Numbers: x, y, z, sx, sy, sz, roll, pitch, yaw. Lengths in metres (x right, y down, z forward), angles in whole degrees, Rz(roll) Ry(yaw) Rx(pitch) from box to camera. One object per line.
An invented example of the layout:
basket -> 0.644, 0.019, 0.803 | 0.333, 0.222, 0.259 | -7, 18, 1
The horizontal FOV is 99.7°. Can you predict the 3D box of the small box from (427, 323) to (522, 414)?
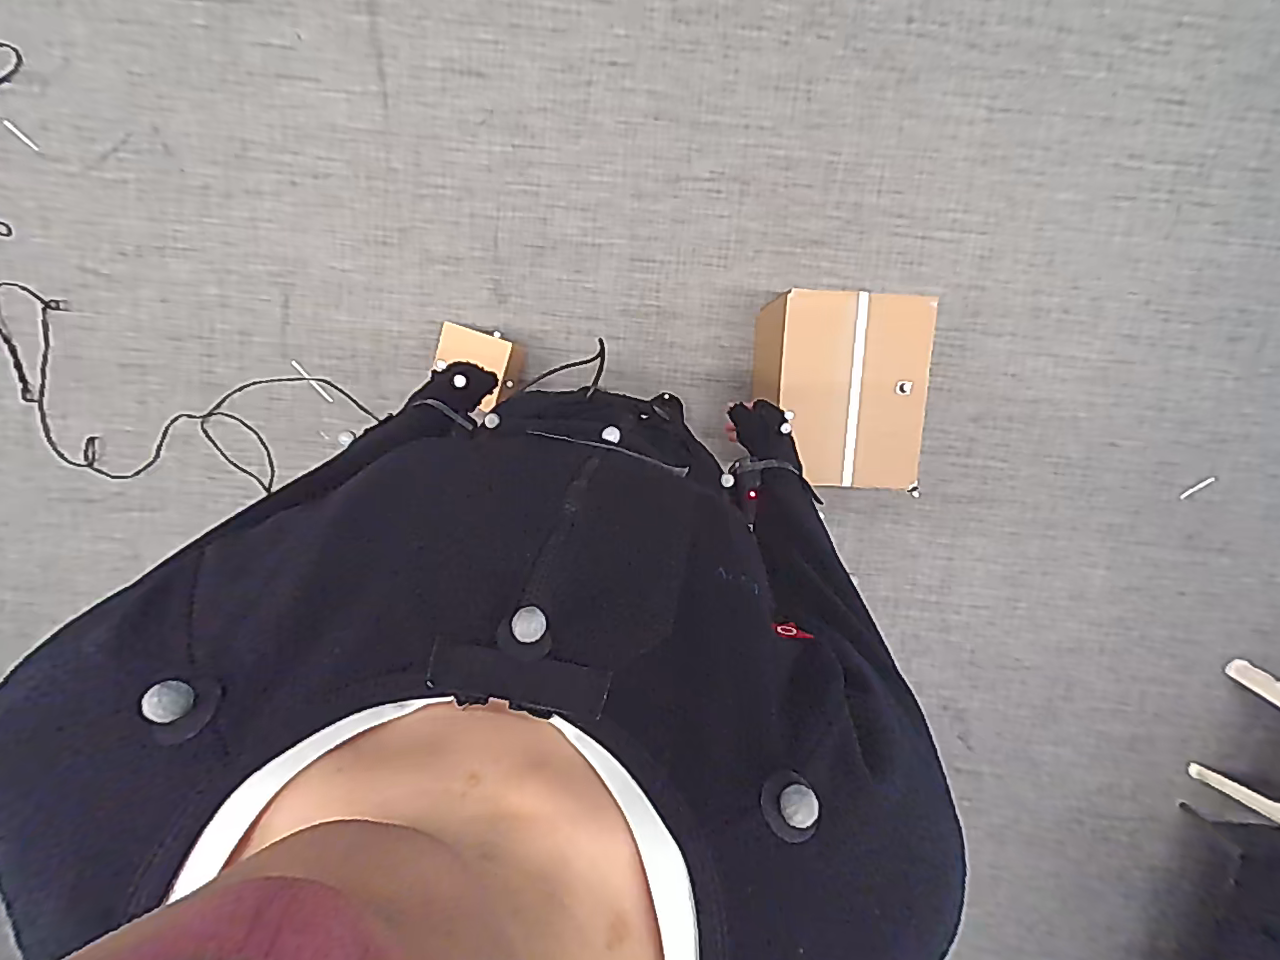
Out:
small box -> -0.404, -0.276, 1.352 | 0.168, 0.176, 0.179 | 17, 100, -3
